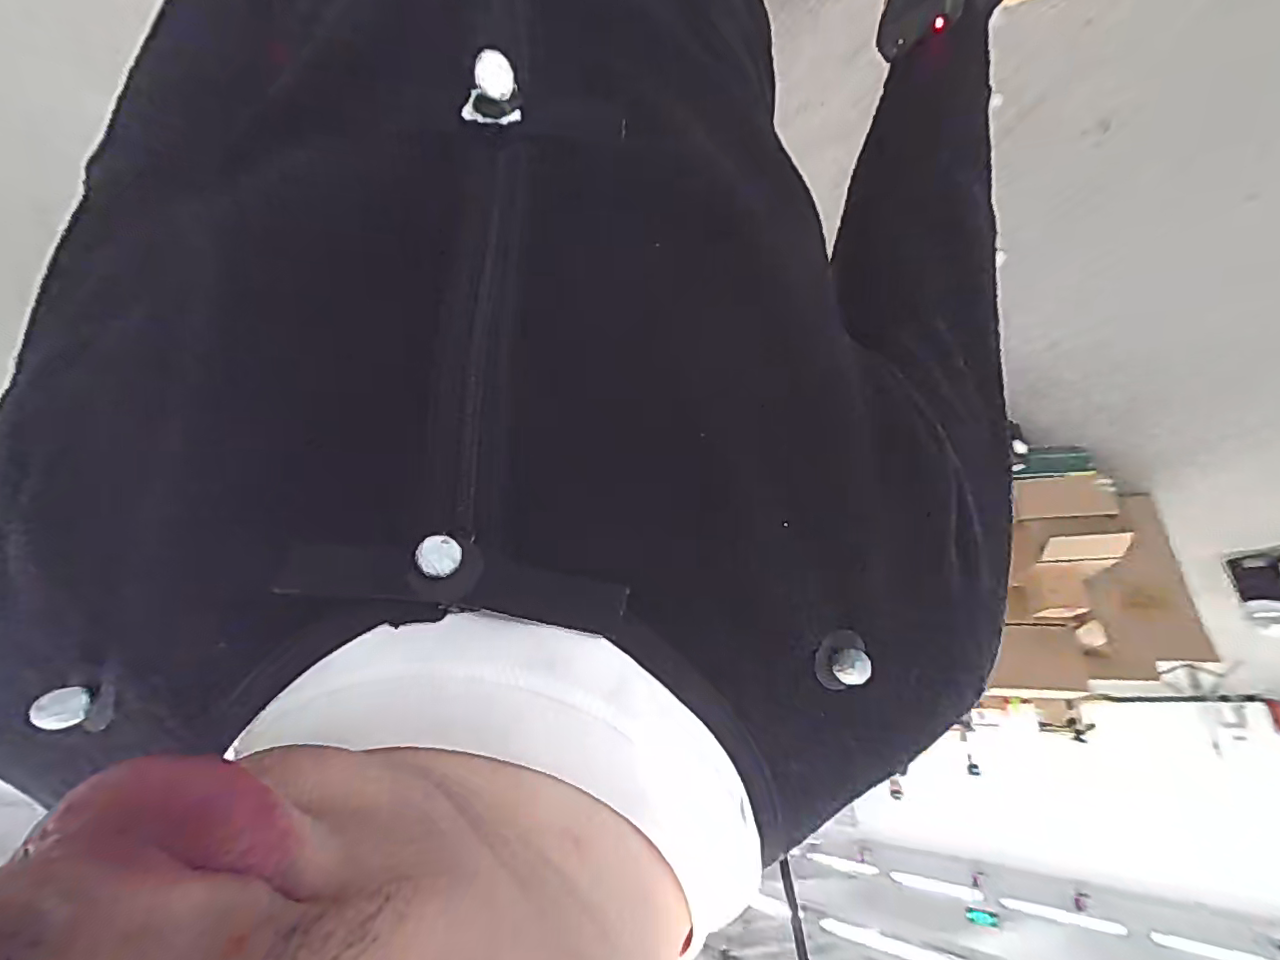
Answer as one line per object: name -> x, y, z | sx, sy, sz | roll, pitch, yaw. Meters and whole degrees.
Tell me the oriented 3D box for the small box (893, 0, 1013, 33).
small box -> 0.324, -0.580, 0.510 | 0.168, 0.179, 0.176 | -2, 175, 31
